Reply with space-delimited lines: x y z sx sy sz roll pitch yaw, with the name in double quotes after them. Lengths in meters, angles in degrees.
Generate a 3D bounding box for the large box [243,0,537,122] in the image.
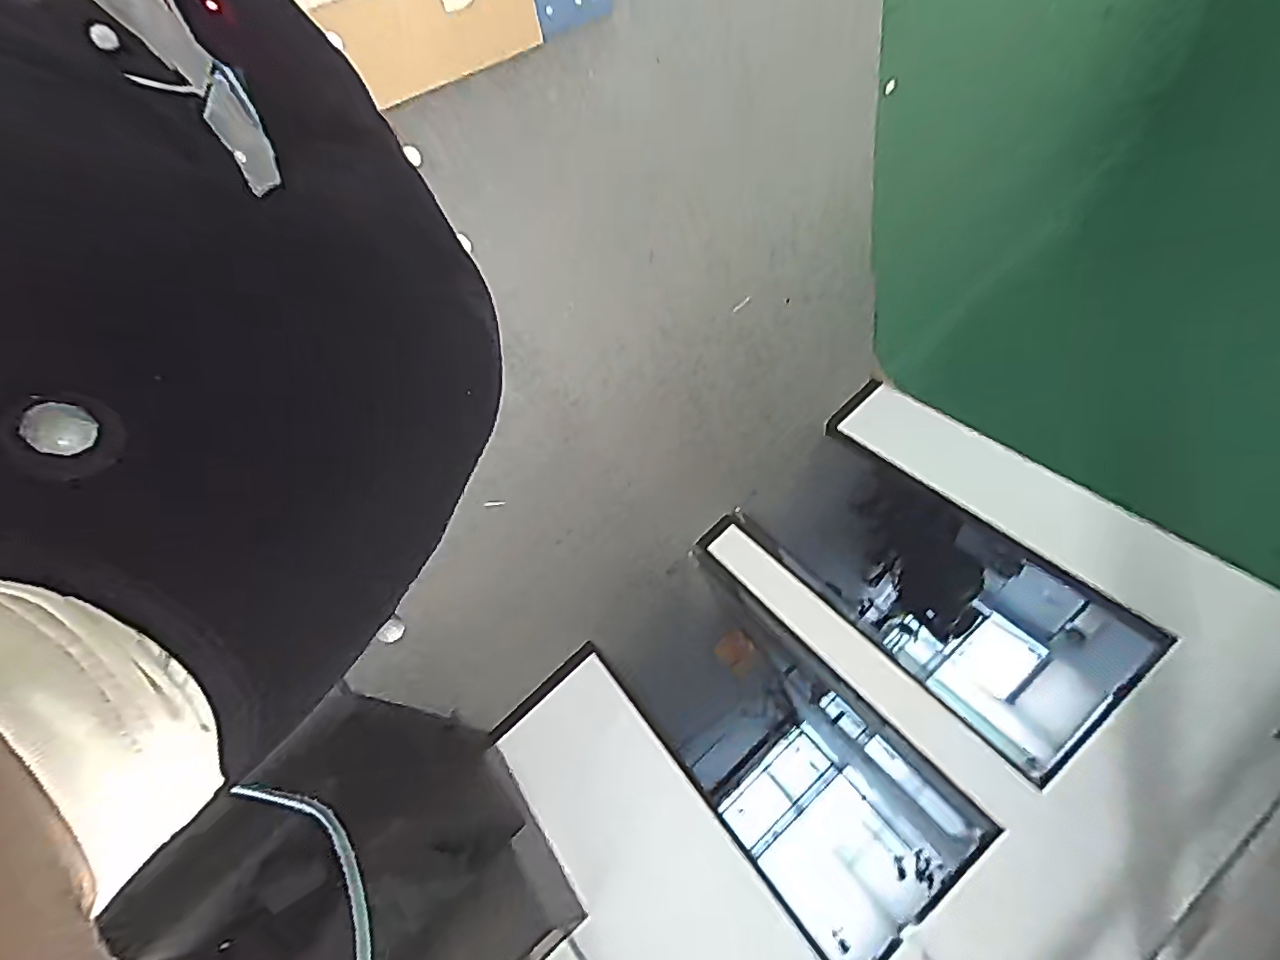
-0.460 -0.879 0.916 0.408 0.320 0.320 -36 144 -15 "large box"
